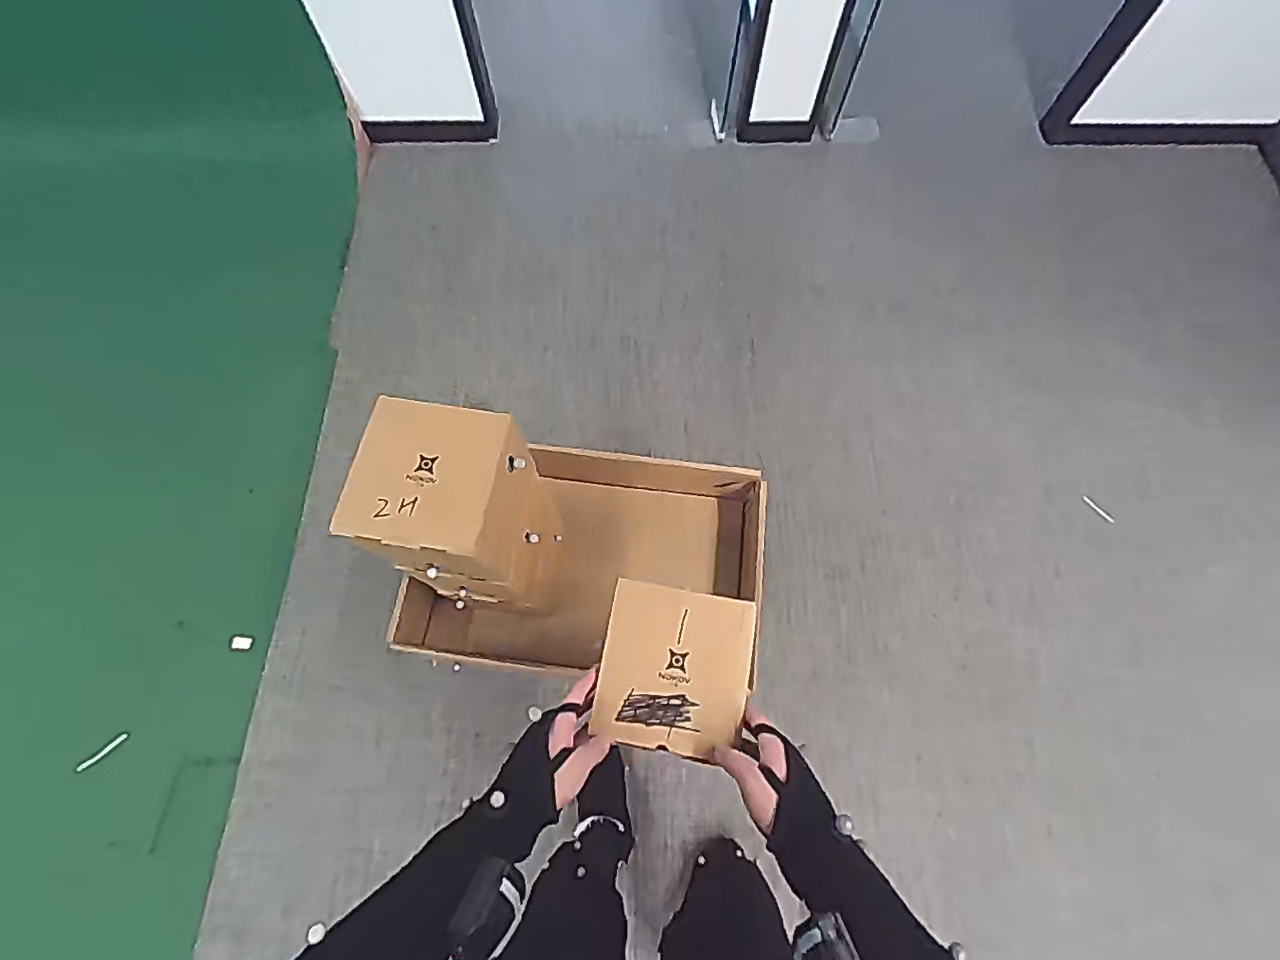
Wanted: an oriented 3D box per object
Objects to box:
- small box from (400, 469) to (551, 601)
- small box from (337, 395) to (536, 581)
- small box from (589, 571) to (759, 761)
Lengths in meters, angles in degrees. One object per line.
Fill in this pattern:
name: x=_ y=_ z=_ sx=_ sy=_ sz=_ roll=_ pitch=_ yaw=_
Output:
small box: x=-0.241 y=0.080 z=0.845 sx=0.168 sy=0.176 sz=0.179 roll=9 pitch=70 yaw=2
small box: x=-0.240 y=0.018 z=0.691 sx=0.168 sy=0.176 sz=0.179 roll=9 pitch=70 yaw=4
small box: x=0.041 y=0.225 z=0.677 sx=0.168 sy=0.176 sz=0.179 roll=11 pitch=73 yaw=3
